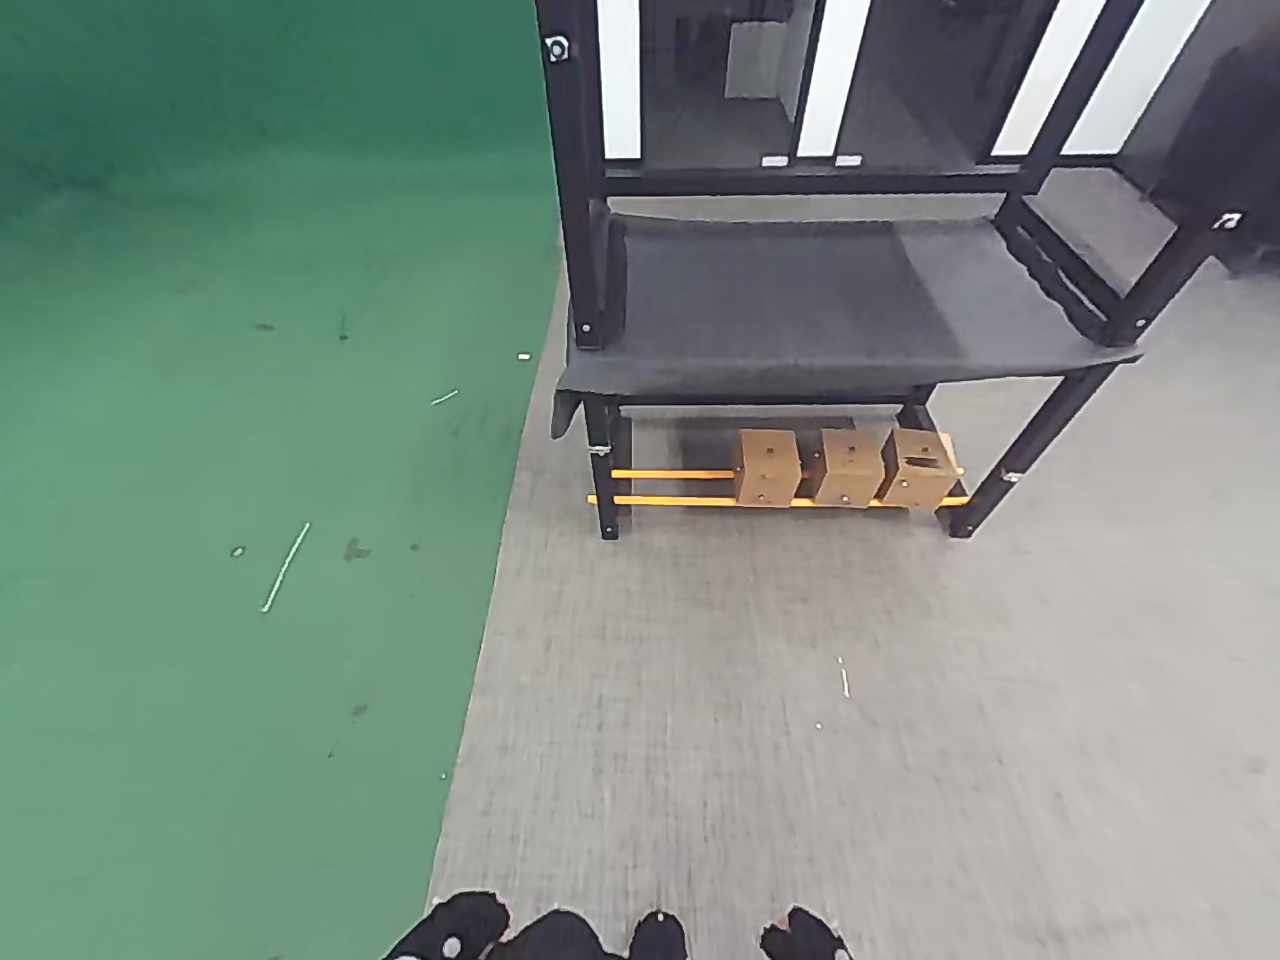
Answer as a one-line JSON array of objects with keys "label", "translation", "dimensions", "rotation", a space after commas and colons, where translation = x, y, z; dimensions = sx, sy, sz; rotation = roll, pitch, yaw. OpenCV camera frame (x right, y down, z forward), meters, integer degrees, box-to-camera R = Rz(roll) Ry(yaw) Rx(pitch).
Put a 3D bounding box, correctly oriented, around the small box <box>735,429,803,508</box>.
[{"label": "small box", "translation": [0.388, -0.034, 1.659], "dimensions": [0.168, 0.176, 0.179], "rotation": [2, 54, 2]}]
